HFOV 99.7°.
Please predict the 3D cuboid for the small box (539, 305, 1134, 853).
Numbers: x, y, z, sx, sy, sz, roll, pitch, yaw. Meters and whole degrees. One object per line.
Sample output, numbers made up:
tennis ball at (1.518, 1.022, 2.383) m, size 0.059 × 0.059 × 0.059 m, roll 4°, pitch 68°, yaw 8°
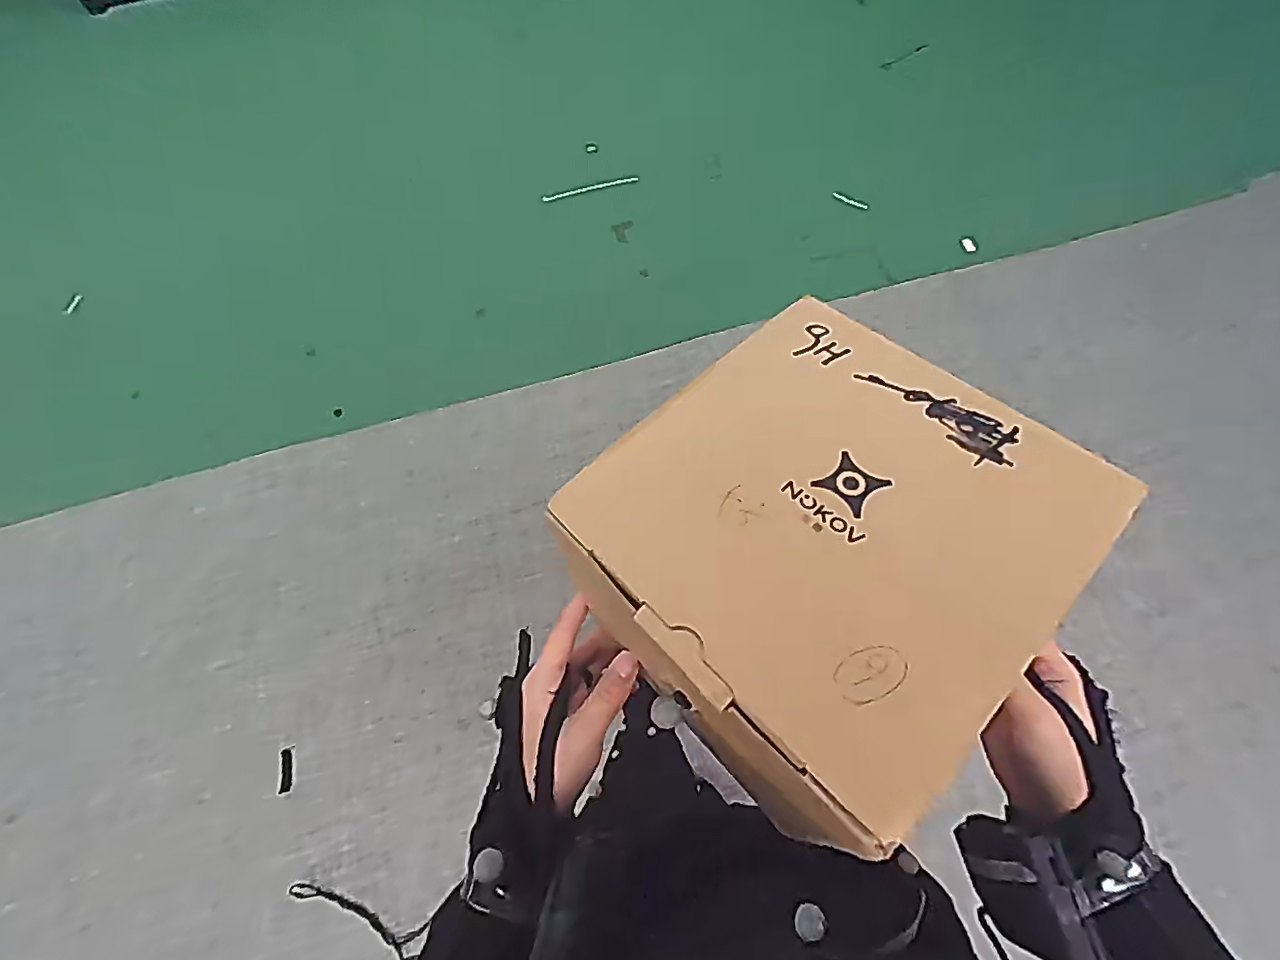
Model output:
small box at (0.080, 0.052, 0.283) m, size 0.179 × 0.176 × 0.168 m, roll -39°, pitch 63°, yaw -18°
